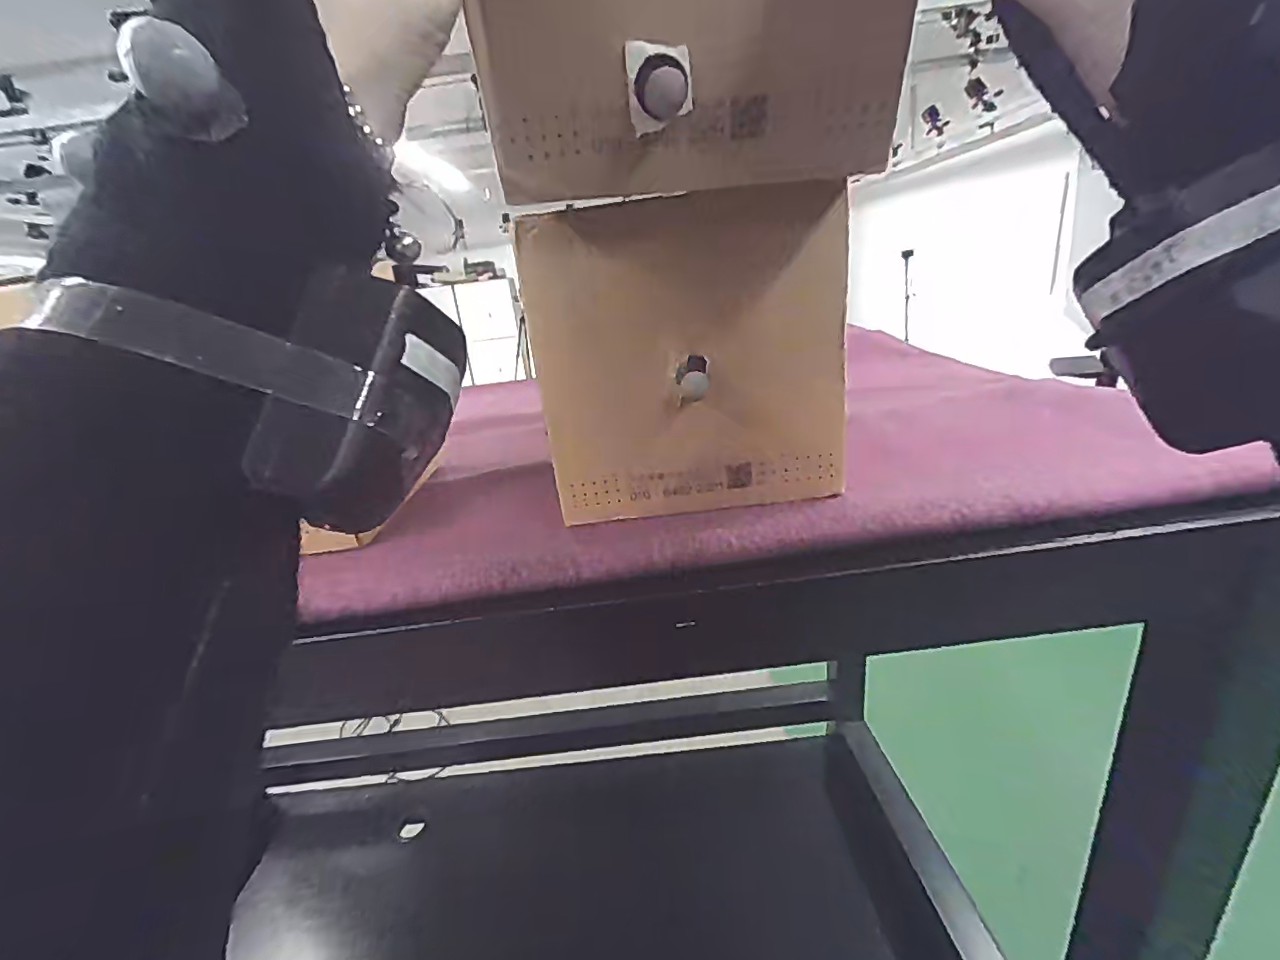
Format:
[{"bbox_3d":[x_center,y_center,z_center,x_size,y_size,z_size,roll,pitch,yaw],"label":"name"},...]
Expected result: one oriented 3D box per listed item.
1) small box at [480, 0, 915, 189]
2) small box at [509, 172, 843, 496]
[{"bbox_3d":[0.016,-0.243,0.248,0.168,0.176,0.179,-6,39,1],"label":"small box"},{"bbox_3d":[0.027,-0.094,0.361,0.168,0.176,0.179,-7,21,2],"label":"small box"}]
